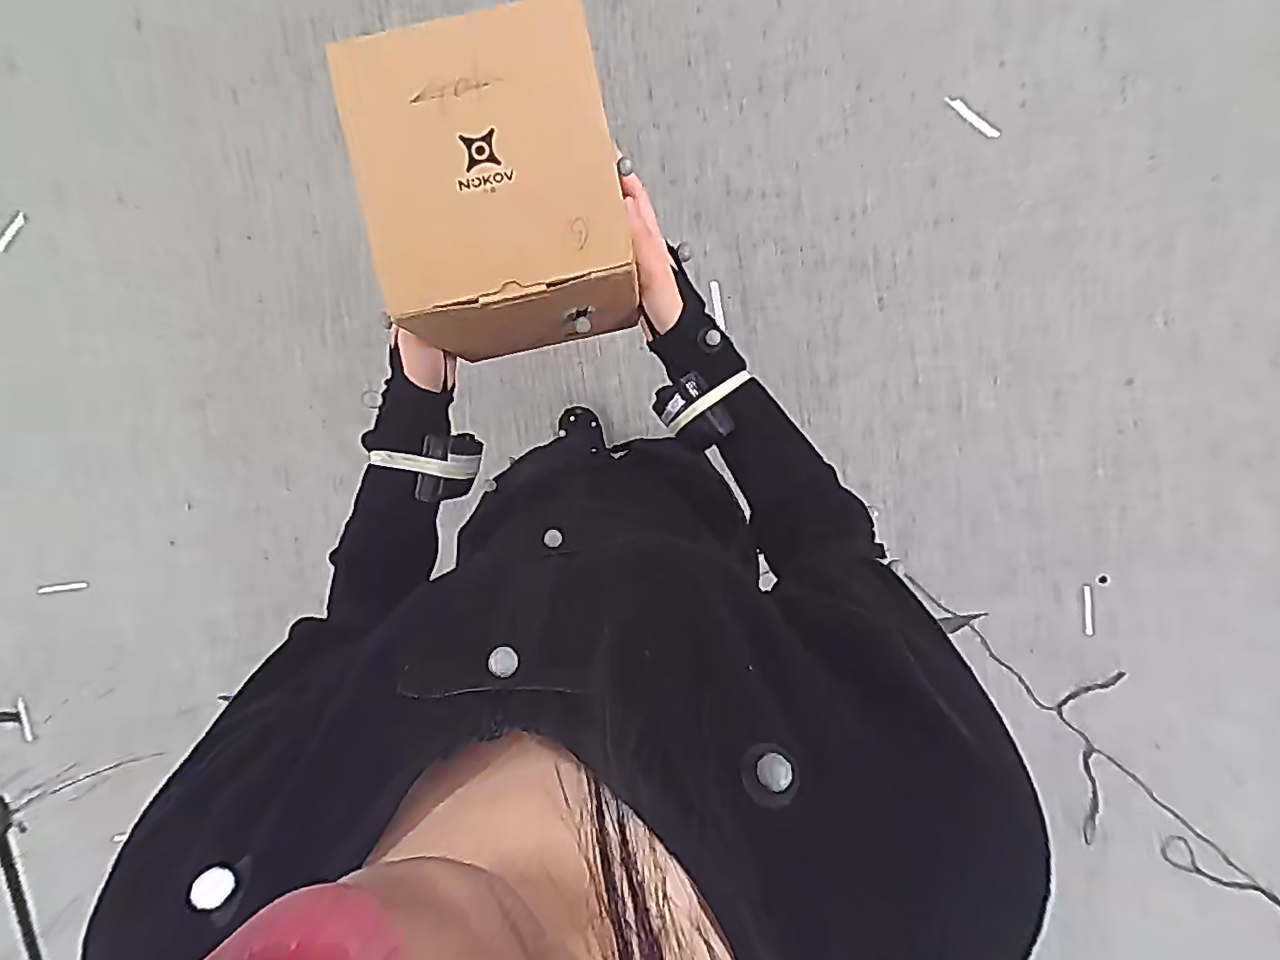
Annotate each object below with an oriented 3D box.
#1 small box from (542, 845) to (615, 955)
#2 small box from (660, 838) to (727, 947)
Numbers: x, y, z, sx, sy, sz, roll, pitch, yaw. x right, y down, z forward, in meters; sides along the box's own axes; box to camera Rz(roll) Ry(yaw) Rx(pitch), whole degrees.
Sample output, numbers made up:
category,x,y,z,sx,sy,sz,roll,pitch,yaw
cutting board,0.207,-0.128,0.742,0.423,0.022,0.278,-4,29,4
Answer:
category,x,y,z,sx,sy,sz,roll,pitch,yaw
small box,-0.167,1.179,1.526,0.168,0.176,0.179,-8,94,3
small box,0.148,1.146,1.510,0.168,0.176,0.179,-7,96,3
